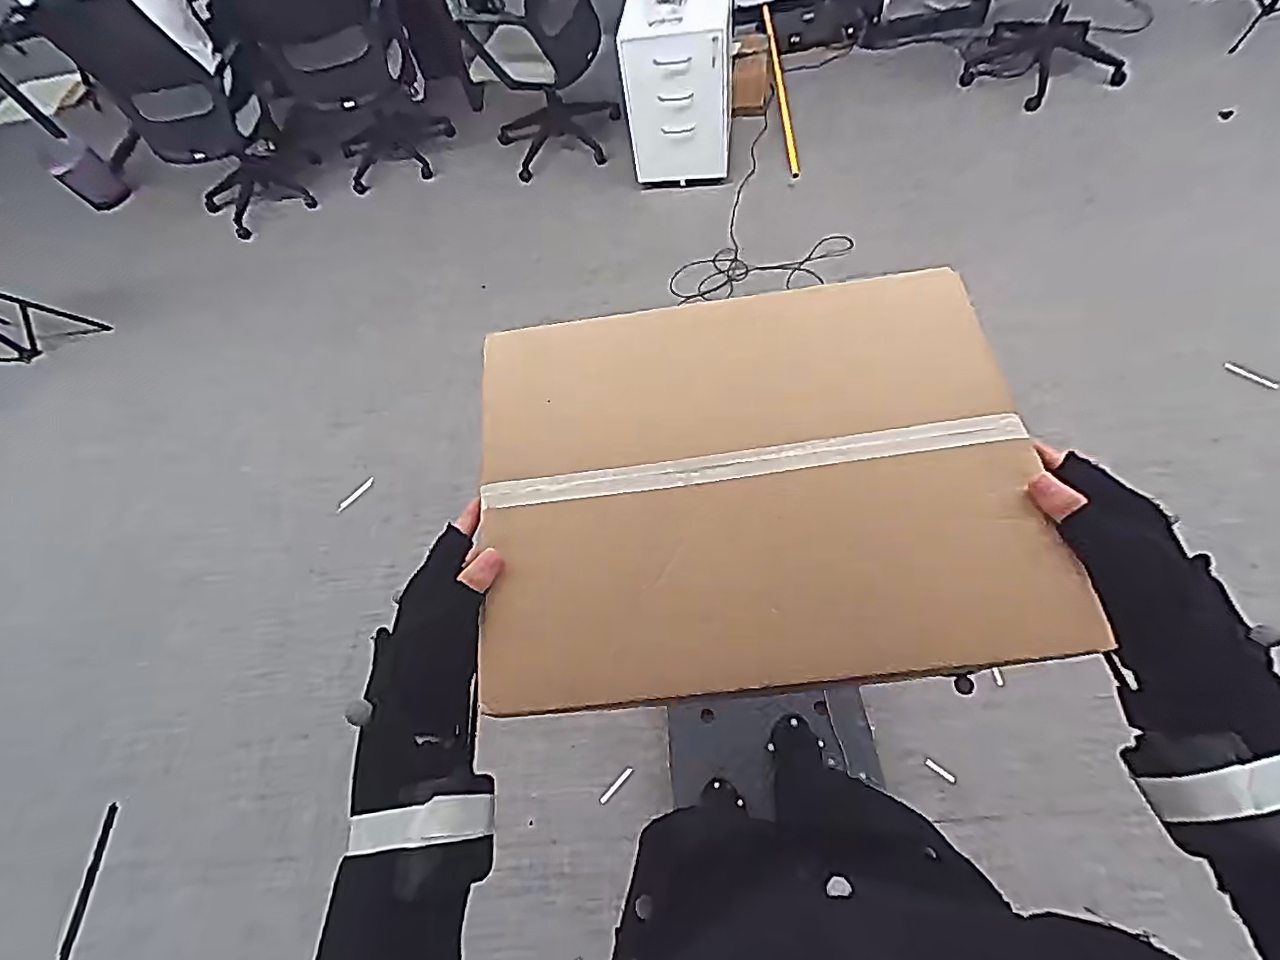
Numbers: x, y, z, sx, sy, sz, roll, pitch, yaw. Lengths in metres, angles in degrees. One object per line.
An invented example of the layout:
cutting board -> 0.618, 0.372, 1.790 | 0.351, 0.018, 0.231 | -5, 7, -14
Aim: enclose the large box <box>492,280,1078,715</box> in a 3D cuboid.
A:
large box -> 0.096, 0.048, 0.559 | 0.408, 0.320, 0.320 | -8, 67, 4
